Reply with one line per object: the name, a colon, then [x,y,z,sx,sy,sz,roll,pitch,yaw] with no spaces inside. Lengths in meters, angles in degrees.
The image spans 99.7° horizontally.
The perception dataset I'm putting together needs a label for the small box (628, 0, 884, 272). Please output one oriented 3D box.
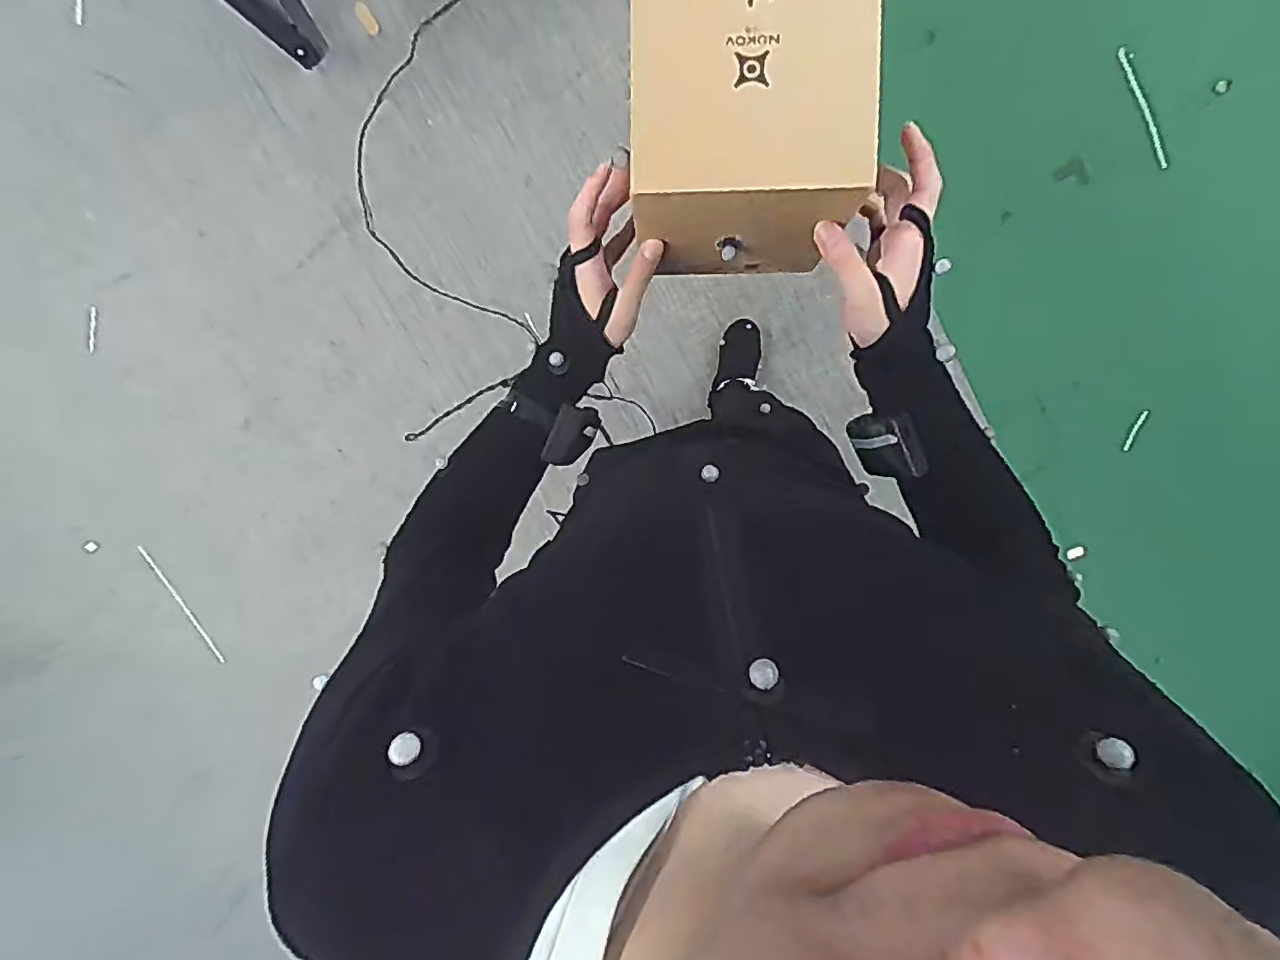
small box: [0.081,-0.280,0.436,0.168,0.176,0.179,1,92,3]
